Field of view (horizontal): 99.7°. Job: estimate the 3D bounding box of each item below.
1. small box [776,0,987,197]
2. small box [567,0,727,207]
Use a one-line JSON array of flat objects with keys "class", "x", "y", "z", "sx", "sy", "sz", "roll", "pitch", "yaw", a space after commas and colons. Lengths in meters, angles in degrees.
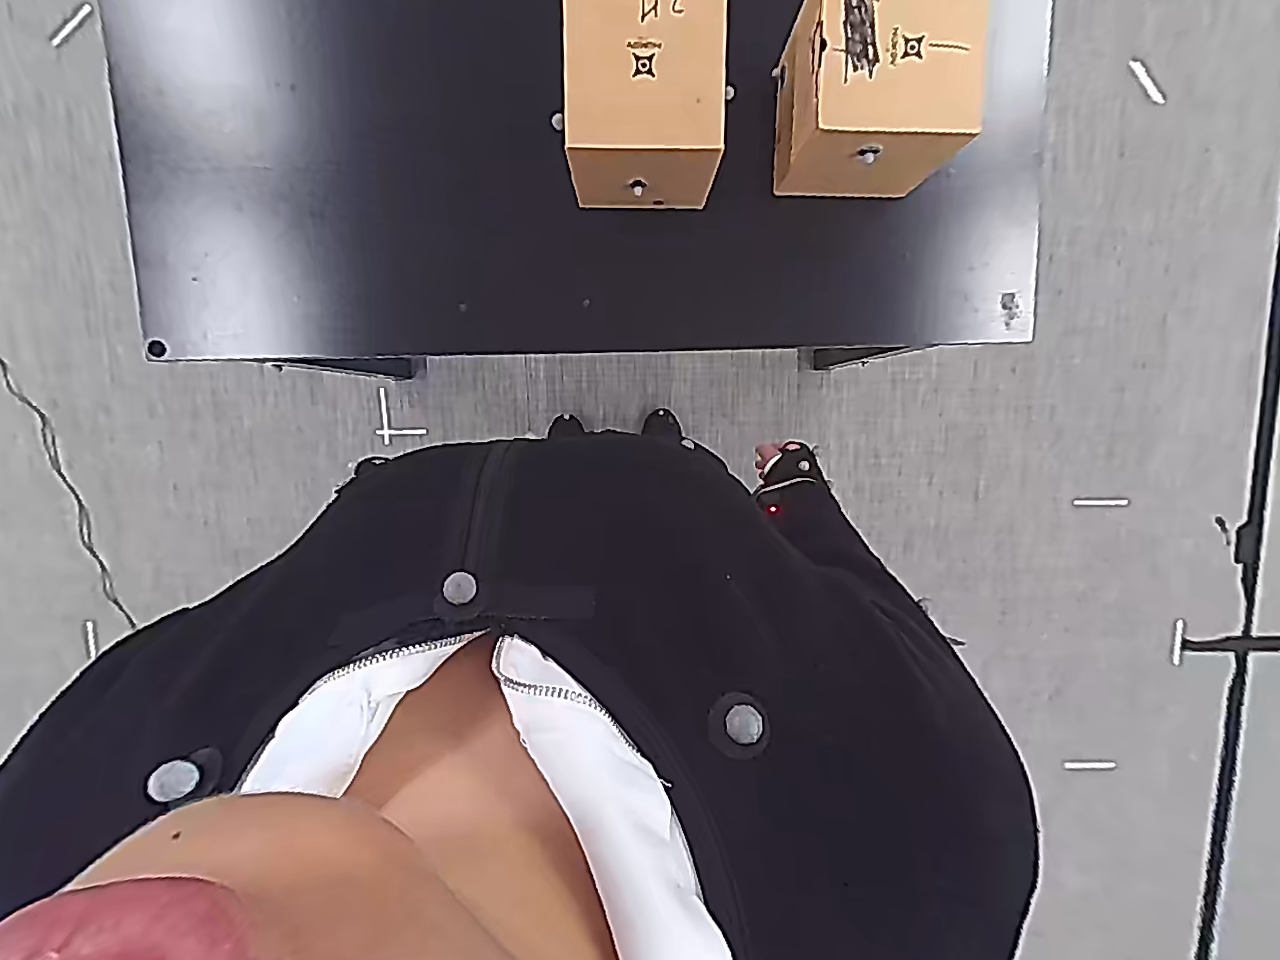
[{"class": "small box", "x": 0.267, "y": -0.452, "z": 0.637, "sx": 0.179, "sy": 0.176, "sz": 0.168, "roll": 1, "pitch": 97, "yaw": -1}, {"class": "small box", "x": 0.006, "y": -0.439, "z": 0.636, "sx": 0.168, "sy": 0.176, "sz": 0.179, "roll": 0, "pitch": 97, "yaw": -1}]
